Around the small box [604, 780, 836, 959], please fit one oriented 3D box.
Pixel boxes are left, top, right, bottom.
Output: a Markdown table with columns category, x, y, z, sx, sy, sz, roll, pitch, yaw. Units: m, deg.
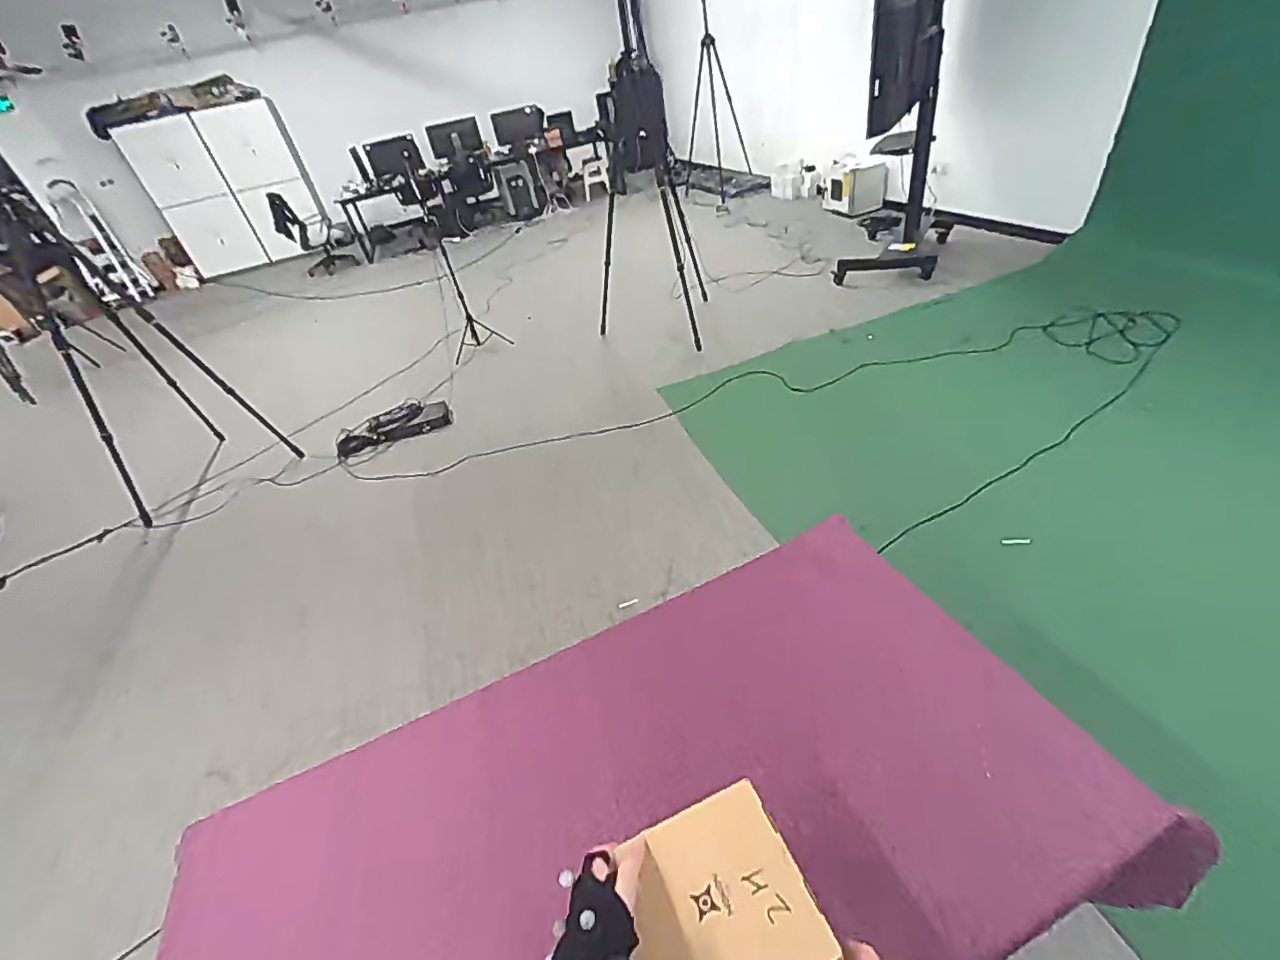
| category | x | y | z | sx | sy | sz | roll | pitch | yaw |
| --- | --- | --- | --- | --- | --- | --- | --- | --- | --- |
| small box | 0.083 | 0.465 | 0.569 | 0.179 | 0.176 | 0.168 | -21 | 39 | -11 |
